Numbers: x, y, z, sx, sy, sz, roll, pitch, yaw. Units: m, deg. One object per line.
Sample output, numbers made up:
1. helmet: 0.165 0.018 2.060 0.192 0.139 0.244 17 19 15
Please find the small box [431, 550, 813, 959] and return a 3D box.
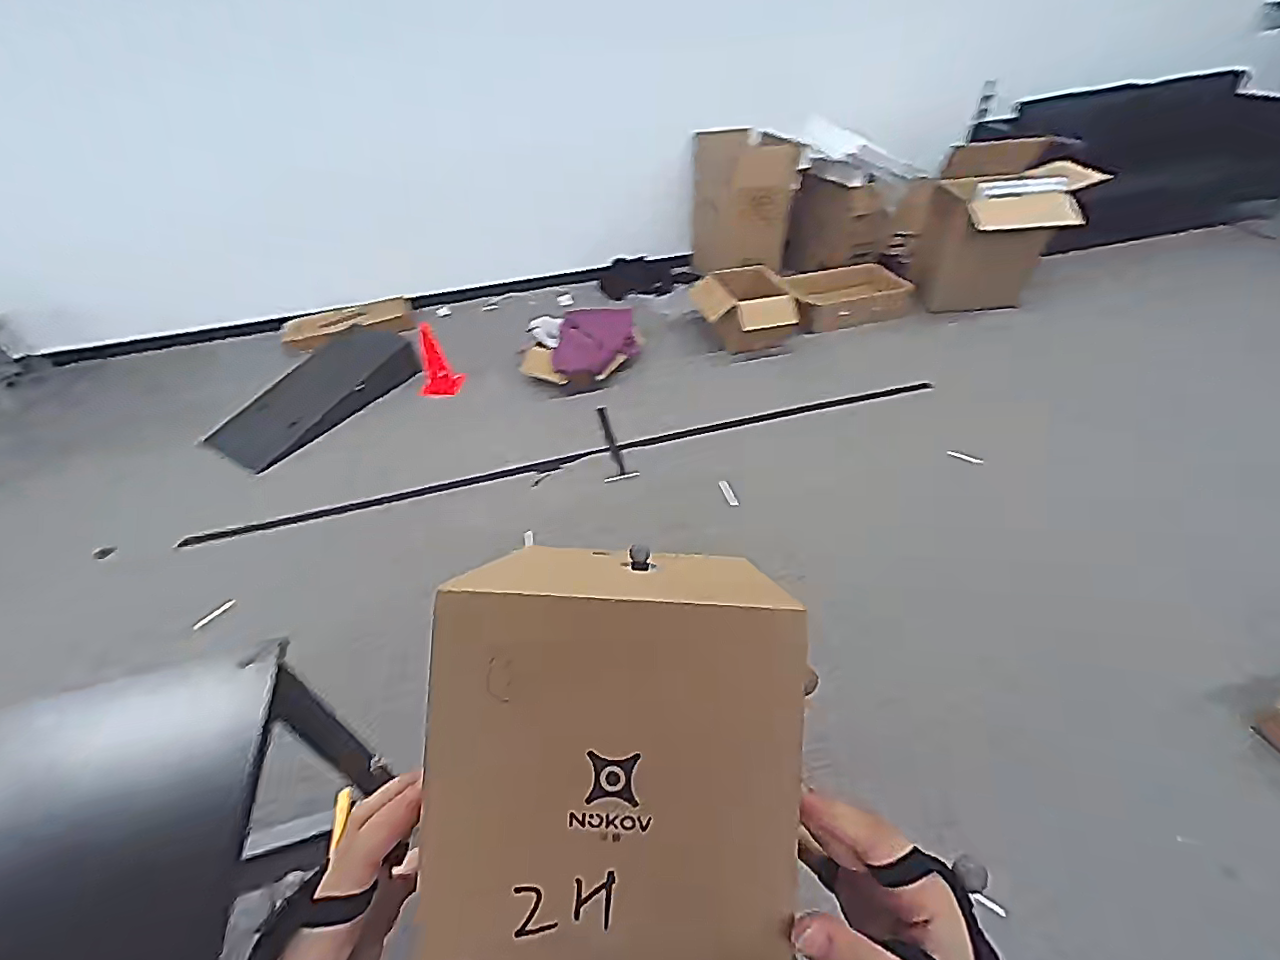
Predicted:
1. small box: -0.004 0.138 0.324 0.168 0.179 0.176 3 -2 3
